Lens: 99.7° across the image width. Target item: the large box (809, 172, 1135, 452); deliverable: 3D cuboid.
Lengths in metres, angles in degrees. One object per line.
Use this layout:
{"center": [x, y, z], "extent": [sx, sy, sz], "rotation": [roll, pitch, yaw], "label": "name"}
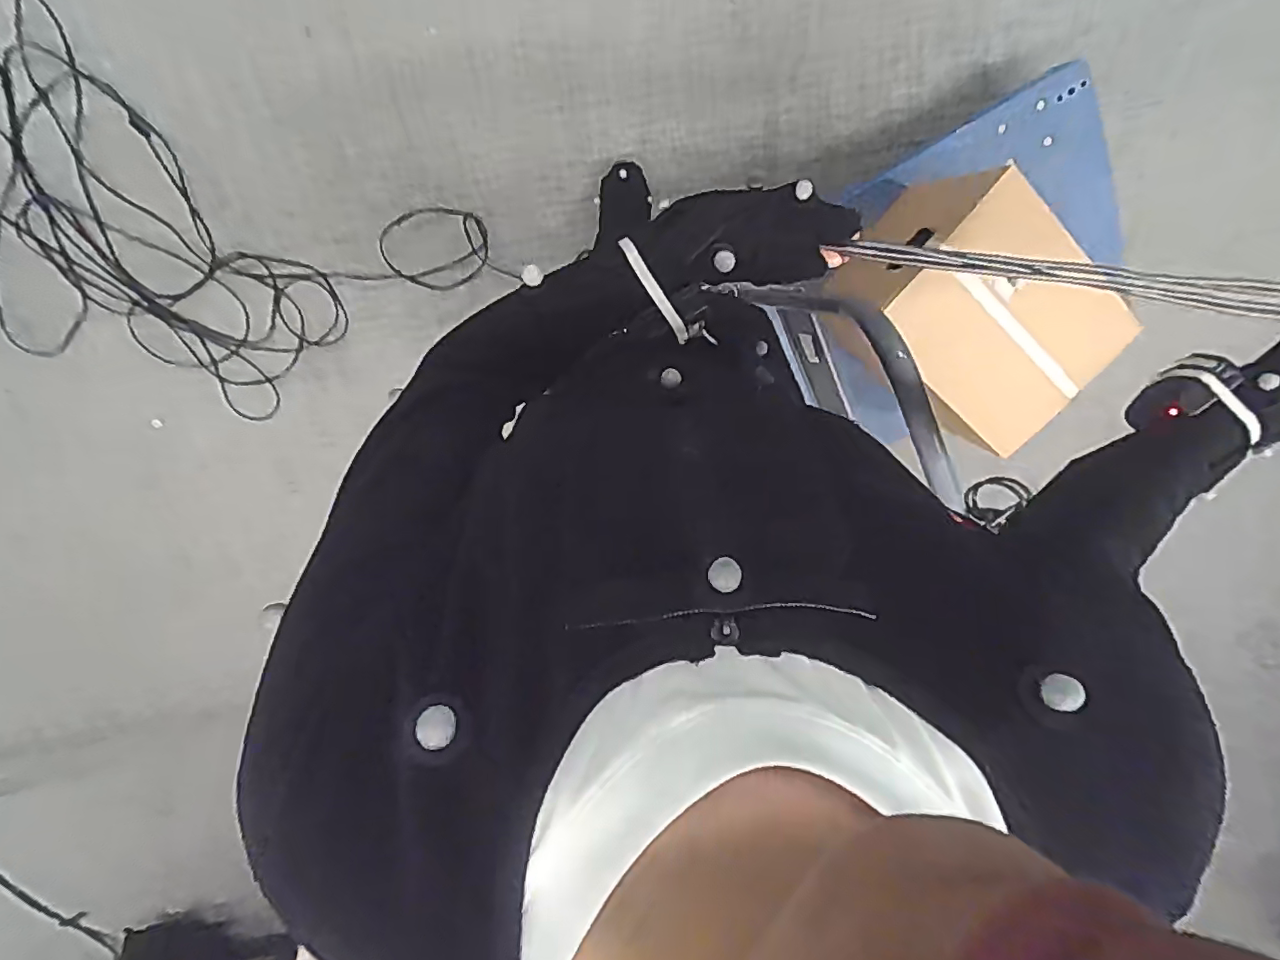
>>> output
{"center": [0.626, -0.326, 1.085], "extent": [0.408, 0.320, 0.320], "rotation": [36, 105, -16], "label": "large box"}
